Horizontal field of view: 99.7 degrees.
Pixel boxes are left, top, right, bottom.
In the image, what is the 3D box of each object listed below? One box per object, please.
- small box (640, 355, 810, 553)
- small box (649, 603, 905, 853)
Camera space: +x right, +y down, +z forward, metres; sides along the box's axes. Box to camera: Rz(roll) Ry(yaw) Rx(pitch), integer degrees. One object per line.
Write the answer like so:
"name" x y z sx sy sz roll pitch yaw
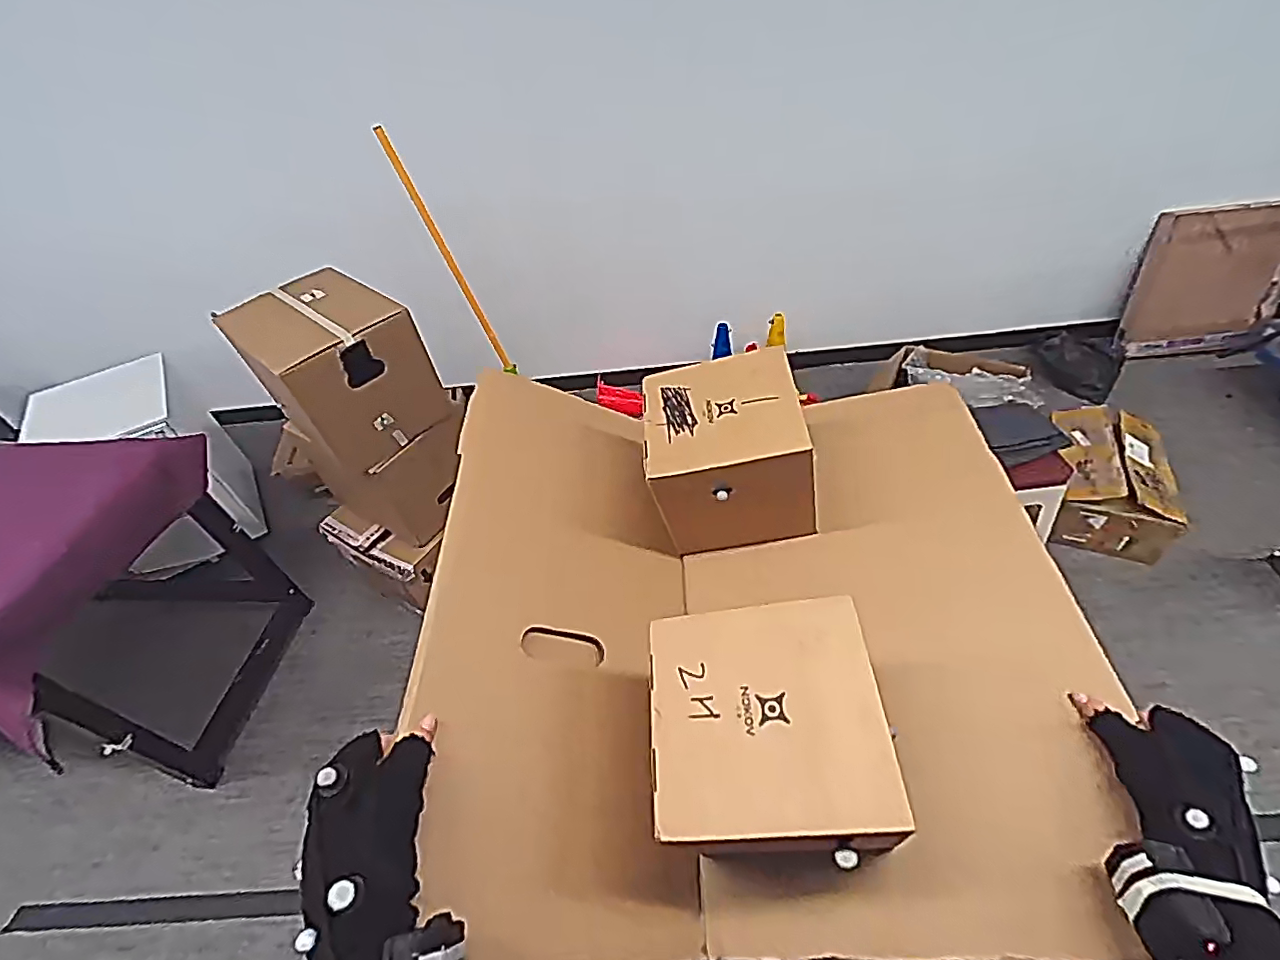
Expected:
"small box" 0.107 -0.024 0.677 0.179 0.176 0.168 -11 51 12
"small box" 0.114 0.227 0.482 0.179 0.176 0.168 -11 51 13
